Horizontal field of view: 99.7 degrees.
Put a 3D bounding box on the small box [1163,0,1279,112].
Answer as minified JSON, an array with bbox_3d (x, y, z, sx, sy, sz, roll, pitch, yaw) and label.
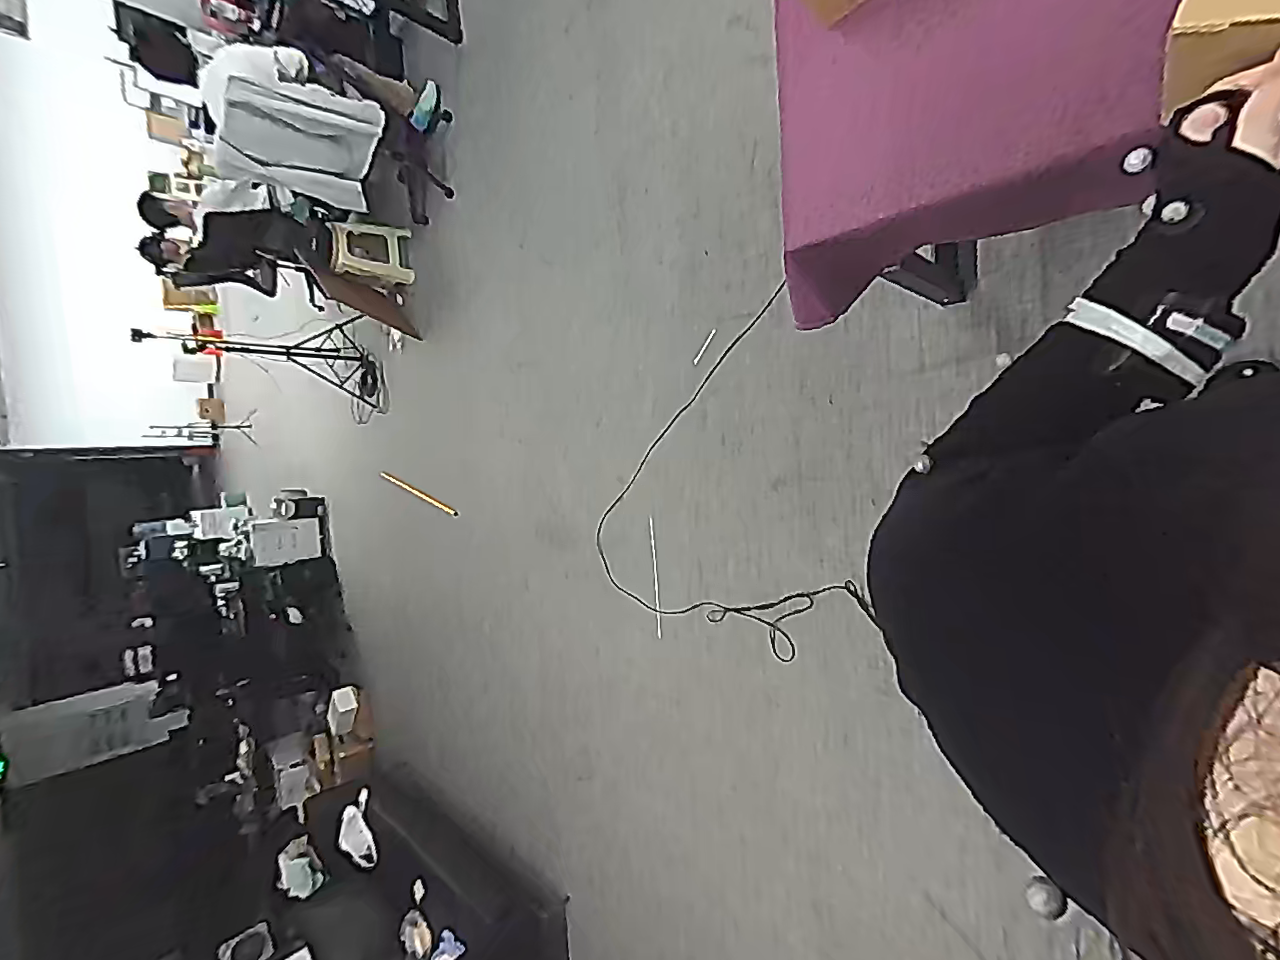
[{"bbox_3d":[0.496,-0.367,0.357,0.168,0.176,0.179,29,114,37],"label":"small box"}]

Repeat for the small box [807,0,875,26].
[{"bbox_3d":[0.270,-0.751,0.690,0.168,0.176,0.179,-7,89,46],"label":"small box"}]
